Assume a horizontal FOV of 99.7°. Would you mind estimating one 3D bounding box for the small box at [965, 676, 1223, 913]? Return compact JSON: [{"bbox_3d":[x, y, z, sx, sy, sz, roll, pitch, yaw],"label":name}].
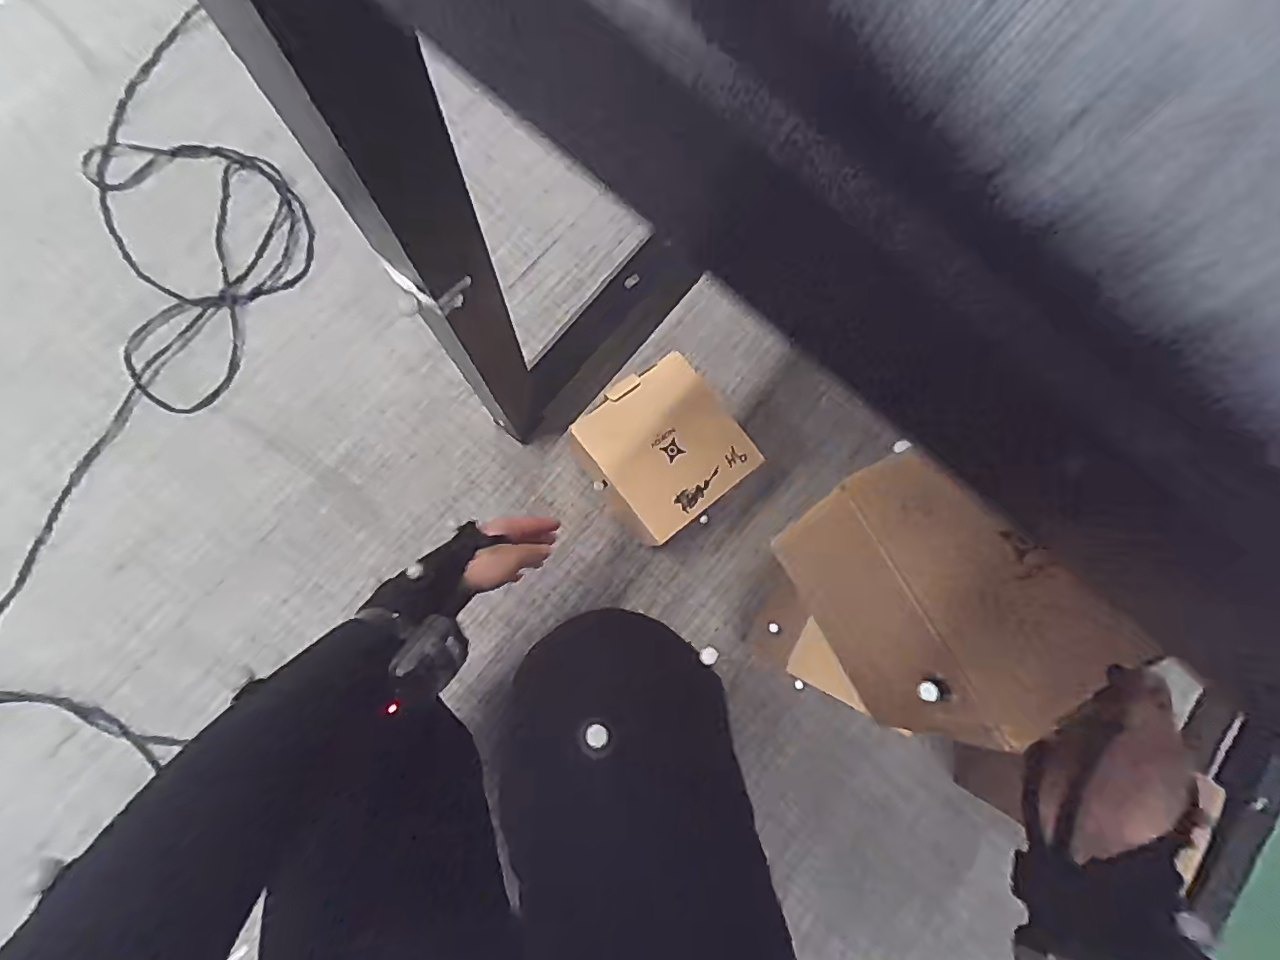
[{"bbox_3d":[0.572,0.391,0.709,0.168,0.176,0.179,35,81,0],"label":"small box"}]
